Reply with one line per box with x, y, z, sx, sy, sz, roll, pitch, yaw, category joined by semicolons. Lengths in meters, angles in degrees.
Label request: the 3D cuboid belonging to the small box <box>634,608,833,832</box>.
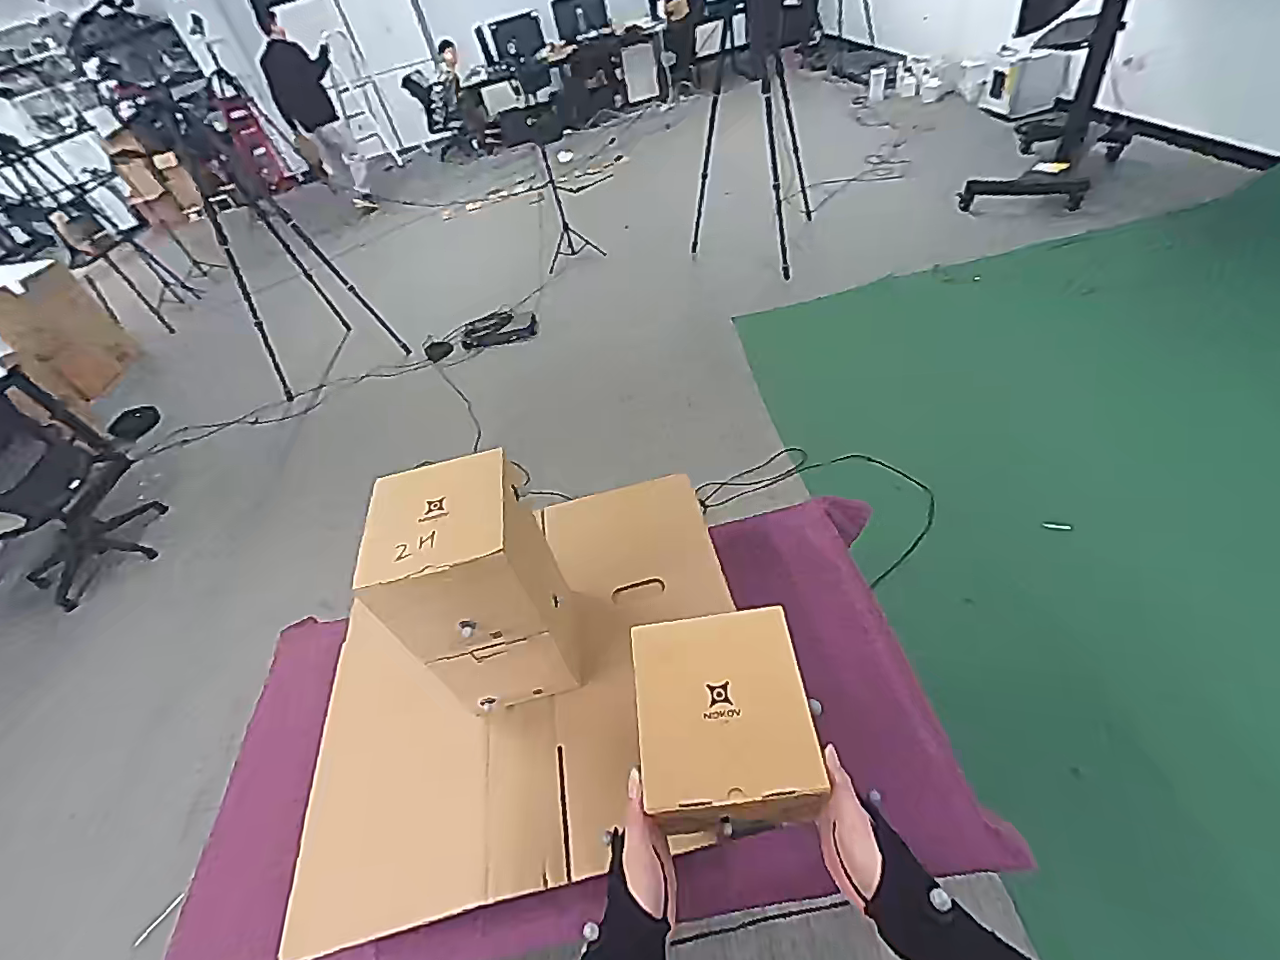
0.090;0.260;0.580;0.168;0.176;0.179;-9;52;4;small box

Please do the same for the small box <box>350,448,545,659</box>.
-0.223;0.091;0.673;0.168;0.176;0.179;-14;46;-1;small box

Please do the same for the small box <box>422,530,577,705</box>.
-0.194;0.206;0.787;0.168;0.176;0.179;-14;44;-1;small box
